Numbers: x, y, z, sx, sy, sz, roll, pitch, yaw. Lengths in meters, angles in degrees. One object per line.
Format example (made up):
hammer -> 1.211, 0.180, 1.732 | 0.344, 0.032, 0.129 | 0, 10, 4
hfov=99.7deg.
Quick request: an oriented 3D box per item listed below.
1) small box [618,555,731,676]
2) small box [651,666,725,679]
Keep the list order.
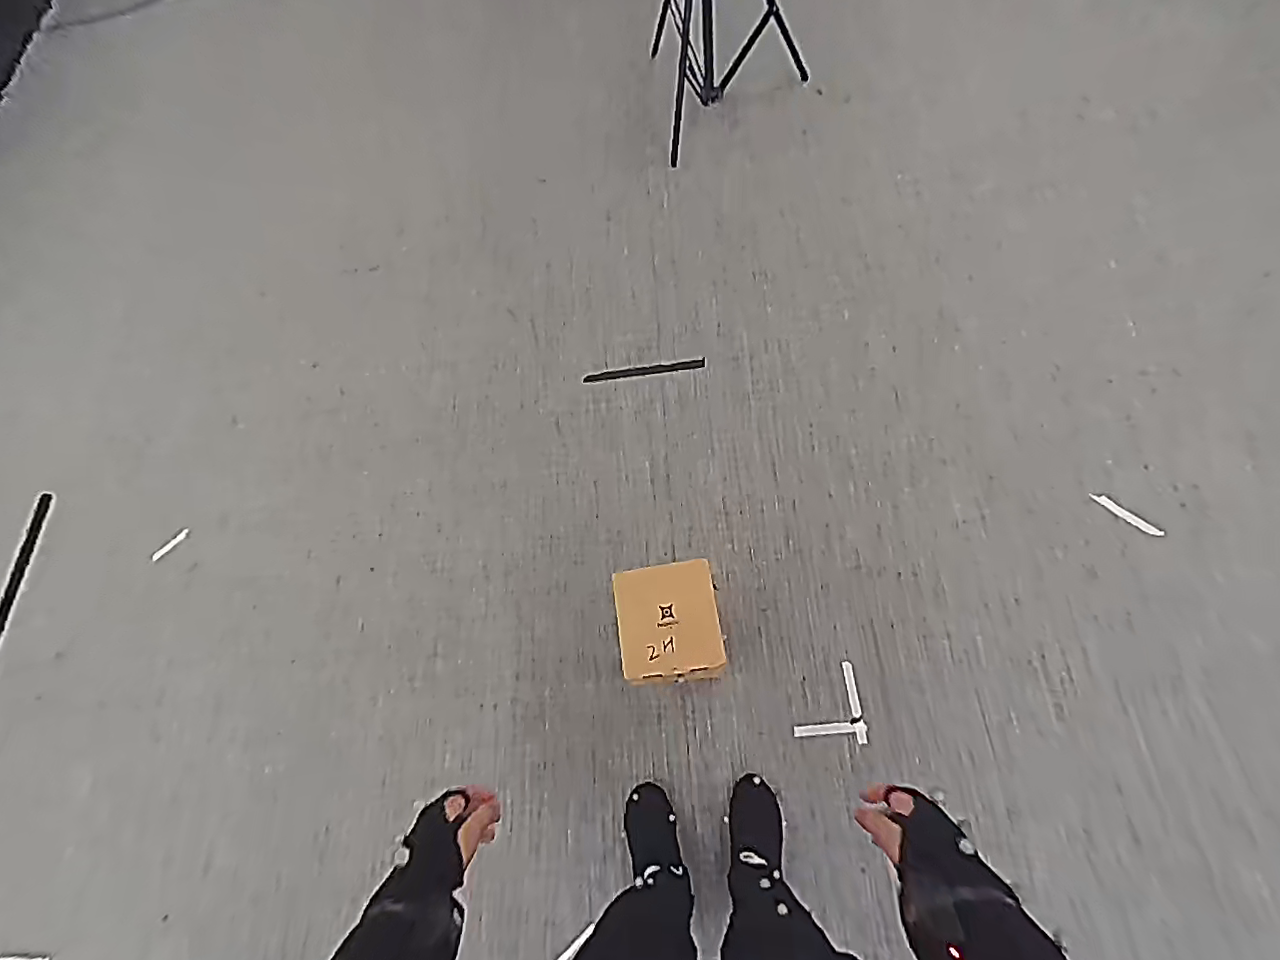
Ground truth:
small box -> 0.062, 0.244, 0.950 | 0.168, 0.176, 0.179 | -10, 70, 5
small box -> 0.104, 0.364, 1.254 | 0.168, 0.176, 0.179 | -7, 69, 6
